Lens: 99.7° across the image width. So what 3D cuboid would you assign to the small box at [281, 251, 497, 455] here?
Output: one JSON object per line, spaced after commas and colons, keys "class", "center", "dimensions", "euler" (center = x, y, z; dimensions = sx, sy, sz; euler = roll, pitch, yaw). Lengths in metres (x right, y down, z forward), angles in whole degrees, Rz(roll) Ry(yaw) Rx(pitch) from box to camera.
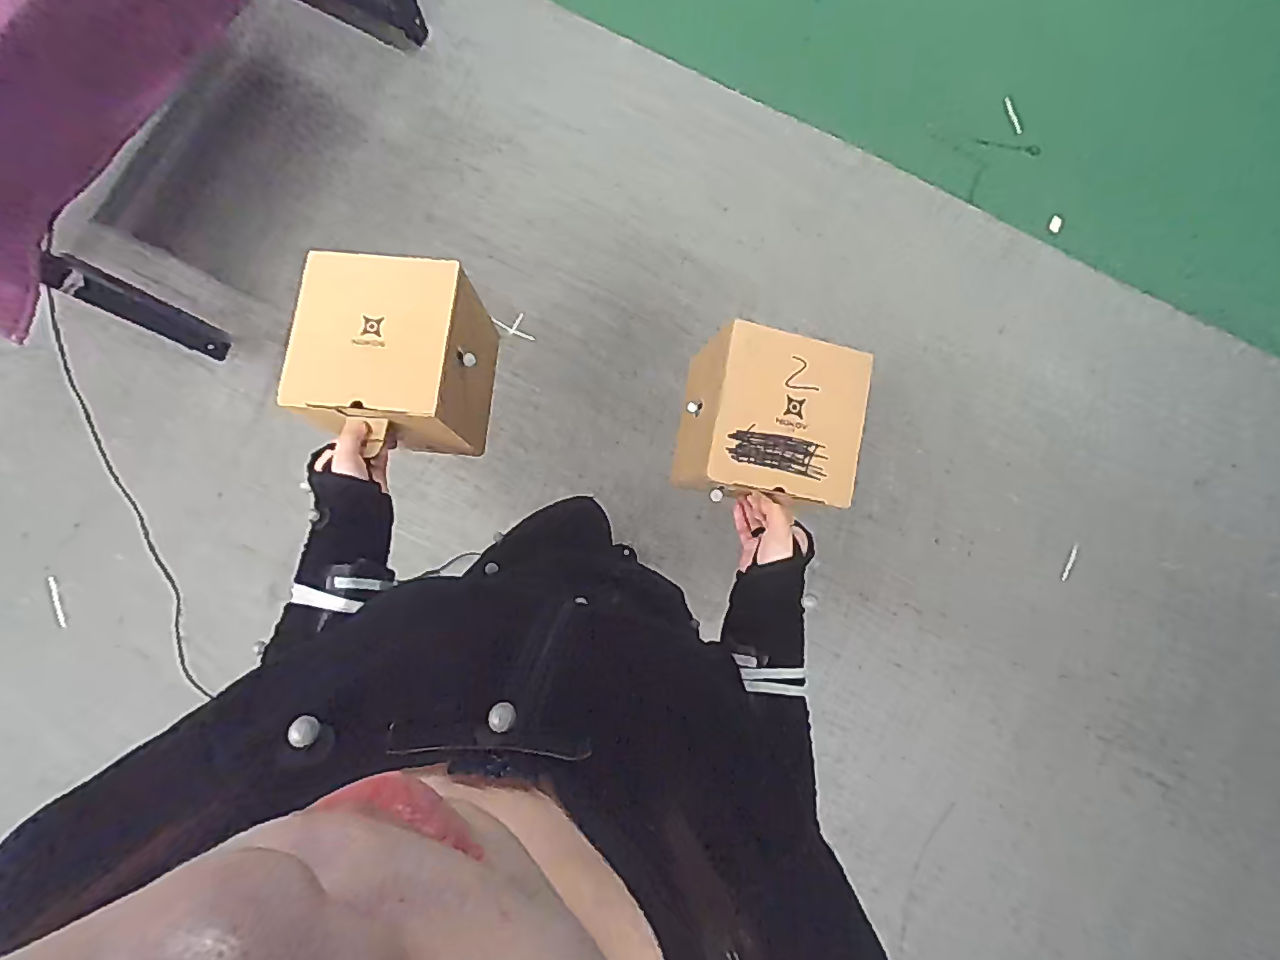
{"class": "small box", "center": [-0.276, -0.139, 0.640], "dimensions": [0.168, 0.176, 0.179], "euler": [5, 80, 0]}
